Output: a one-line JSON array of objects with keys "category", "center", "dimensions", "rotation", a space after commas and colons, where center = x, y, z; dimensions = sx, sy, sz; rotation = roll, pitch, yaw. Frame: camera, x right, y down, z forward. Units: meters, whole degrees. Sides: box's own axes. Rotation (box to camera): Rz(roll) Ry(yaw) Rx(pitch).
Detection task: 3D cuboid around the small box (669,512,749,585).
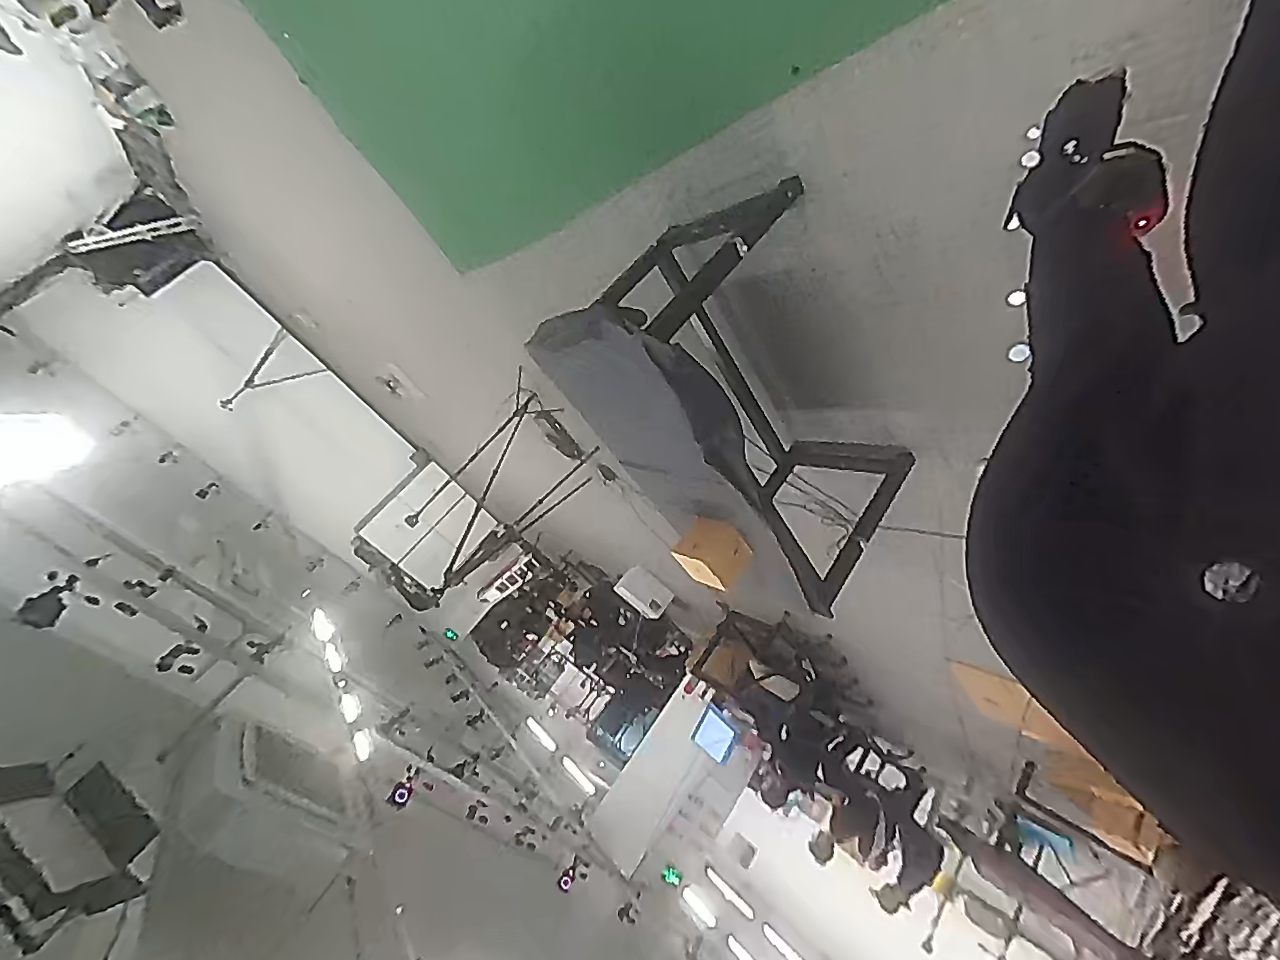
[{"category": "small box", "center": [0.241, 0.230, 1.865], "dimensions": [0.179, 0.176, 0.168], "rotation": [8, 143, 54]}]
